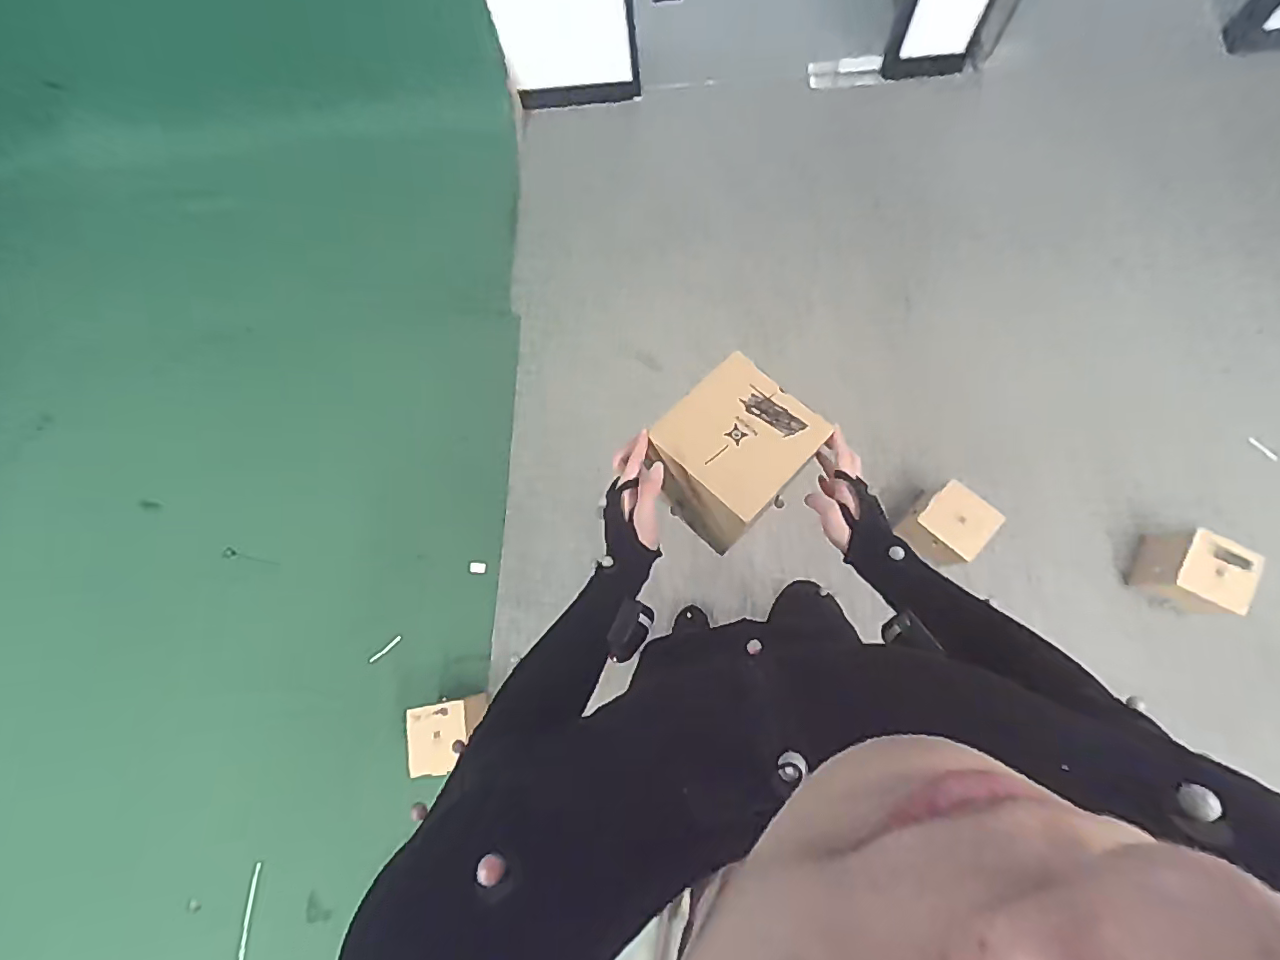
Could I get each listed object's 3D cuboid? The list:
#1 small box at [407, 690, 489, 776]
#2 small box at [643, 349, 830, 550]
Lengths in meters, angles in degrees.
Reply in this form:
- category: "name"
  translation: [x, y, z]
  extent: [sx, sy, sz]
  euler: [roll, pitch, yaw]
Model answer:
- category: "small box"
  translation: [-0.535, 0.706, 1.523]
  extent: [0.168, 0.176, 0.179]
  euler: [-10, 75, 3]
- category: "small box"
  translation: [0.116, -0.034, 0.731]
  extent: [0.168, 0.176, 0.179]
  euler: [42, 73, 14]
